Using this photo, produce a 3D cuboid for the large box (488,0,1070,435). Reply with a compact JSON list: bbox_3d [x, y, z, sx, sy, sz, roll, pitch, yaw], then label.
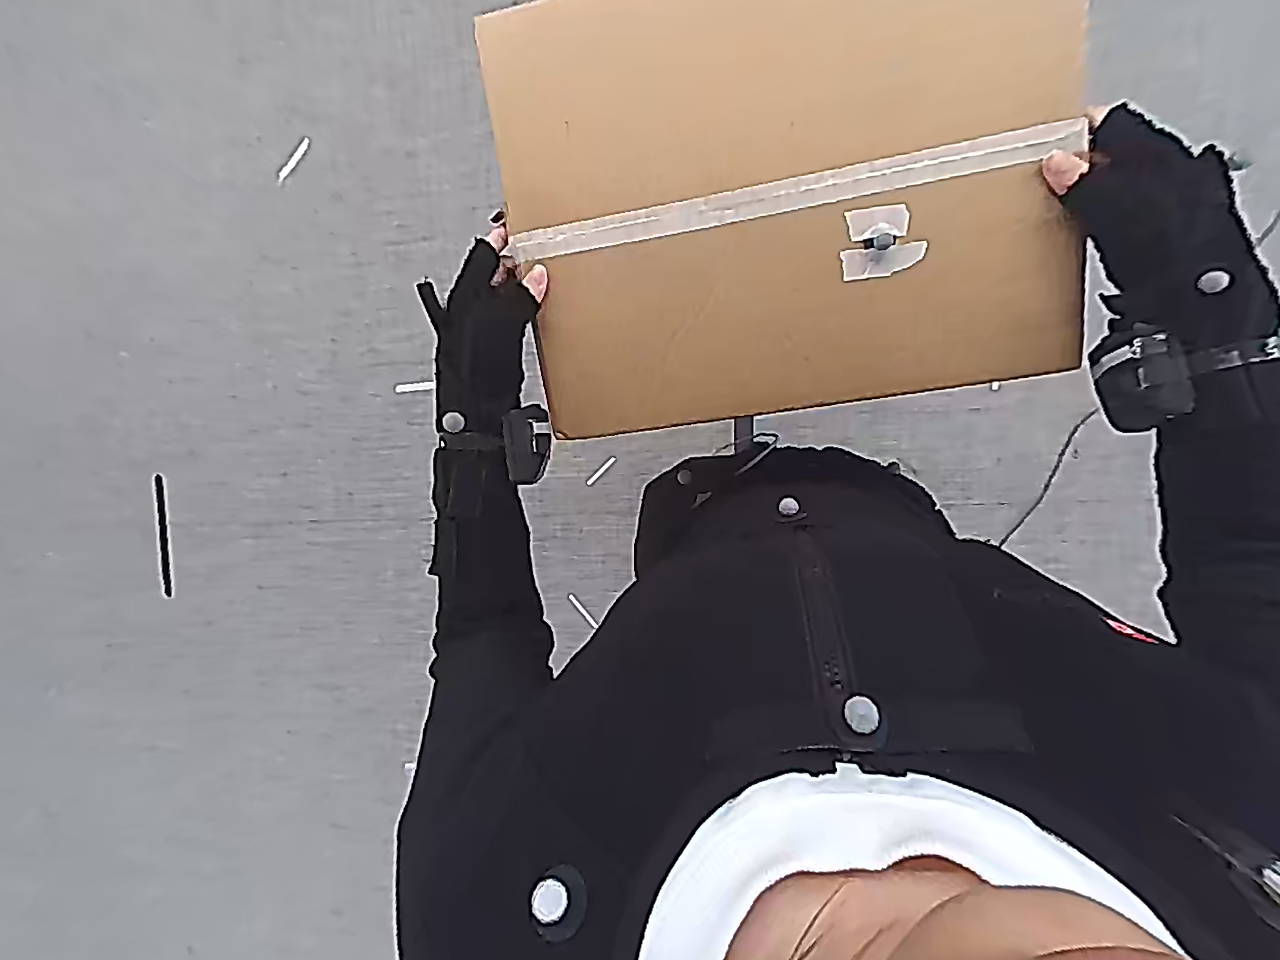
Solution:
[{"bbox_3d":[0.119,-0.248,0.551,0.408,0.320,0.320,-8,104,8],"label":"large box"}]
